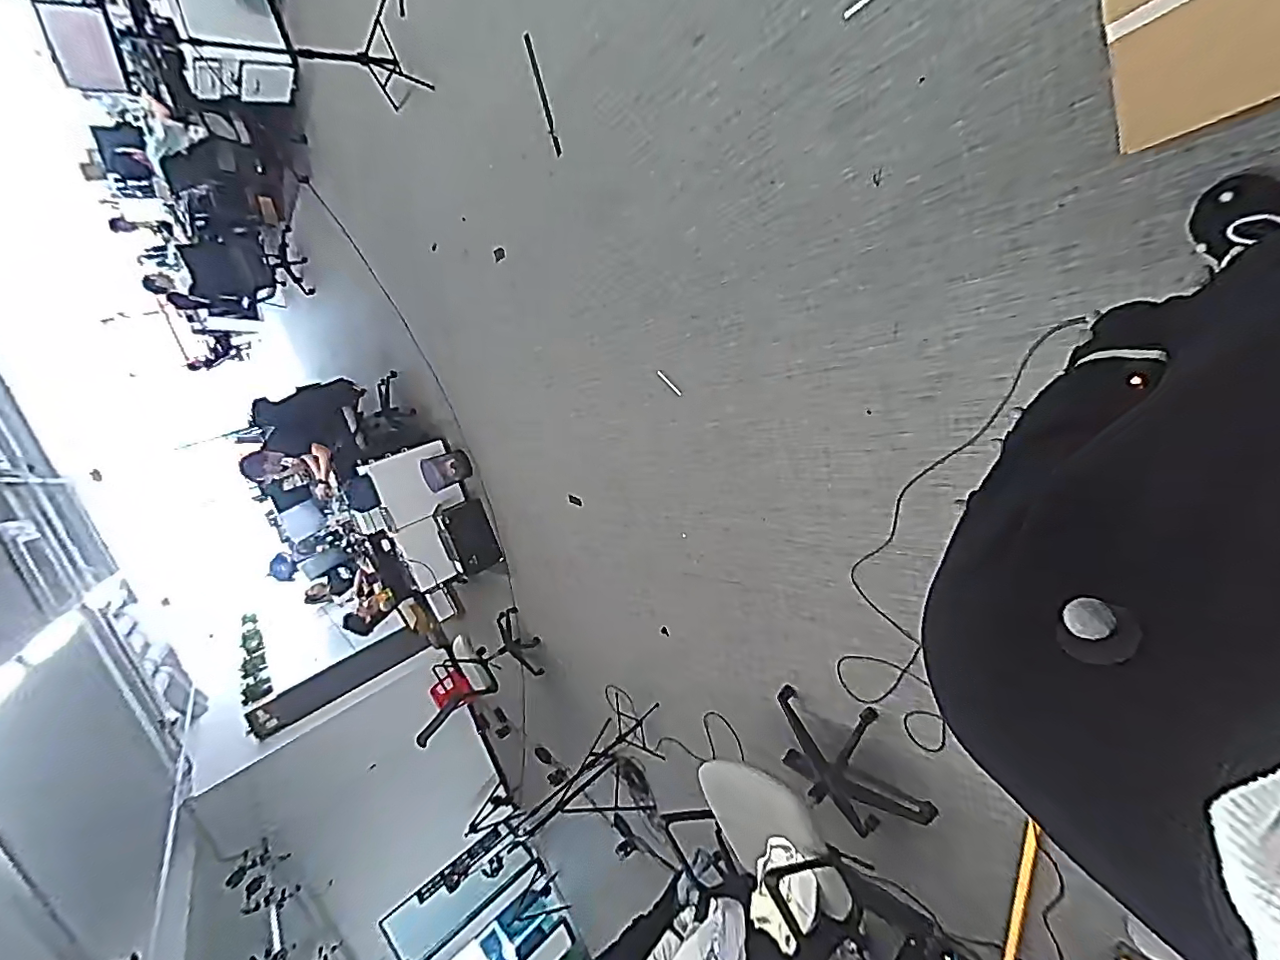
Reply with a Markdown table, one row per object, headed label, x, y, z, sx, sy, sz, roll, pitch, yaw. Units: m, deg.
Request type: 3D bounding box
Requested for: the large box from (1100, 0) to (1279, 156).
| label | x | y | z | sx | sy | sz | roll | pitch | yaw |
| --- | --- | --- | --- | --- | --- | --- | --- | --- | --- |
| large box | 0.854 | -0.654 | 0.654 | 0.408 | 0.320 | 0.320 | -3 | 110 | 54 |
